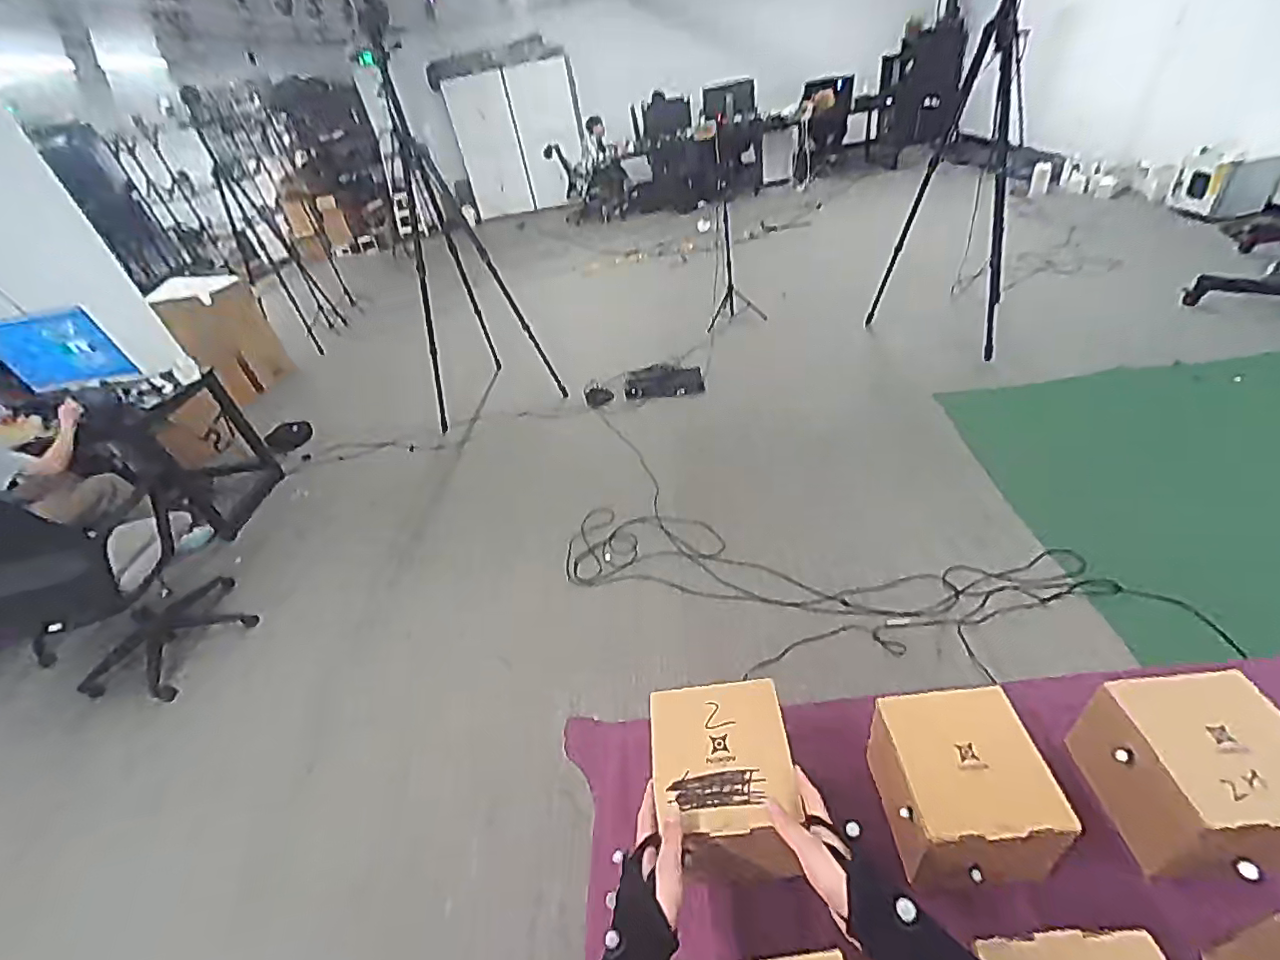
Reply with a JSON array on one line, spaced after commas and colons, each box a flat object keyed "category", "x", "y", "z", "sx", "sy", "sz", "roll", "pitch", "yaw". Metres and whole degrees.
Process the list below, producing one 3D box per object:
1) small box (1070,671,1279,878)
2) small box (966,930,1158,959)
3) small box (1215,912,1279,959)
[{"category": "small box", "x": 0.694, "y": 0.369, "z": 0.681, "sx": 0.168, "sy": 0.176, "sz": 0.179, "roll": -8, "pitch": 38, "yaw": 8}, {"category": "small box", "x": 0.423, "y": 0.565, "z": 0.515, "sx": 0.168, "sy": 0.176, "sz": 0.179, "roll": -9, "pitch": 38, "yaw": 7}, {"category": "small box", "x": 0.695, "y": 0.521, "z": 0.485, "sx": 0.168, "sy": 0.176, "sz": 0.179, "roll": -8, "pitch": 37, "yaw": 8}]
